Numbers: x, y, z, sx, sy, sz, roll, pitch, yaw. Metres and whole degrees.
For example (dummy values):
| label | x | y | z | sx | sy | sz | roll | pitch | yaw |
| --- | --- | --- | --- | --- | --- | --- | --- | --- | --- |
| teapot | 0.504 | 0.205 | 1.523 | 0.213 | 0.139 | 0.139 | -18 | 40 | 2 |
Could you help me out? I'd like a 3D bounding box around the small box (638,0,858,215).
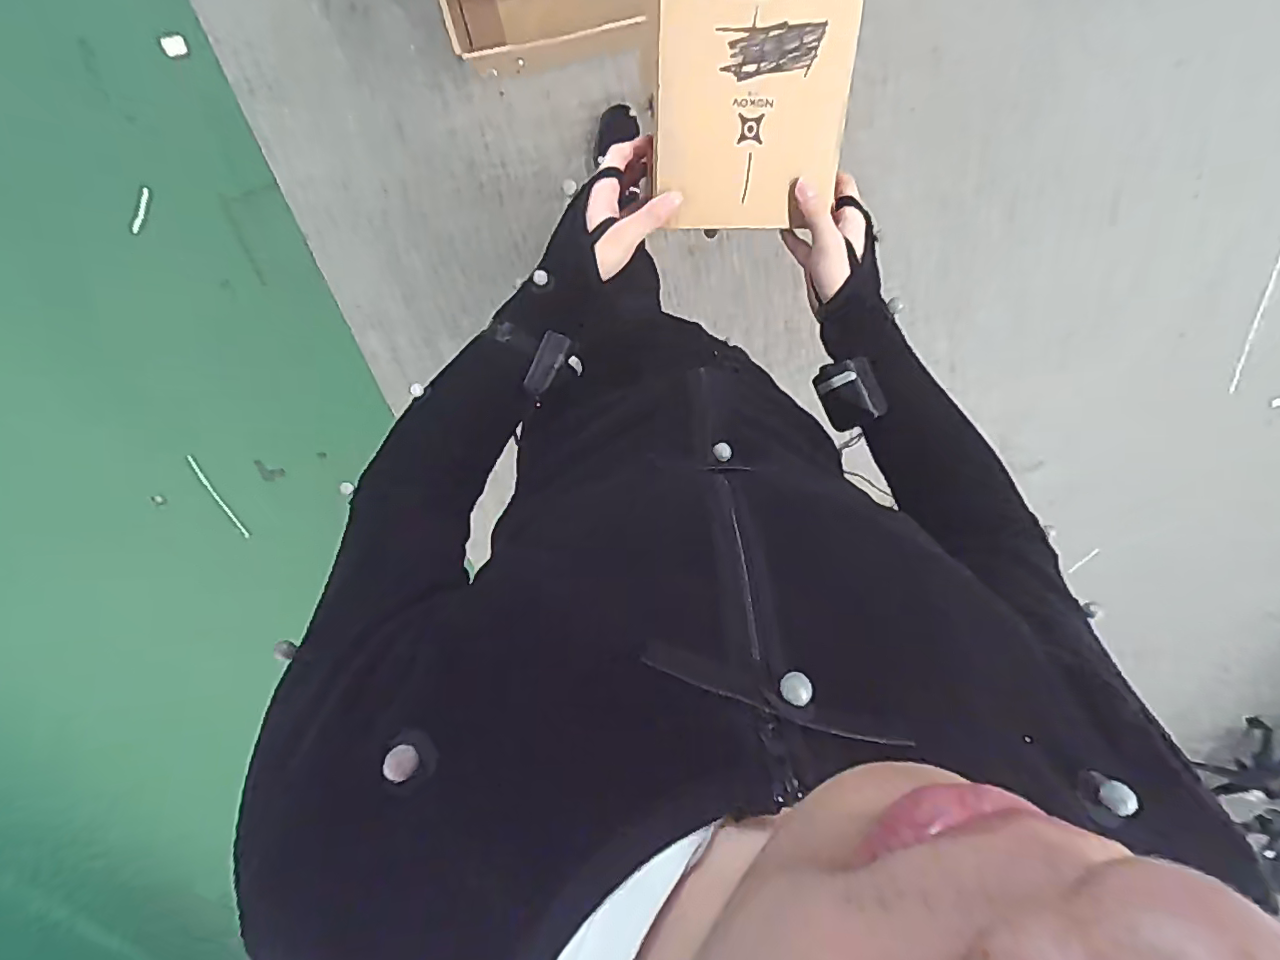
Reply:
| label | x | y | z | sx | sy | sz | roll | pitch | yaw |
| --- | --- | --- | --- | --- | --- | --- | --- | --- | --- |
| small box | 0.087 | -0.365 | 0.536 | 0.168 | 0.176 | 0.179 | -3 | 120 | -5 |
